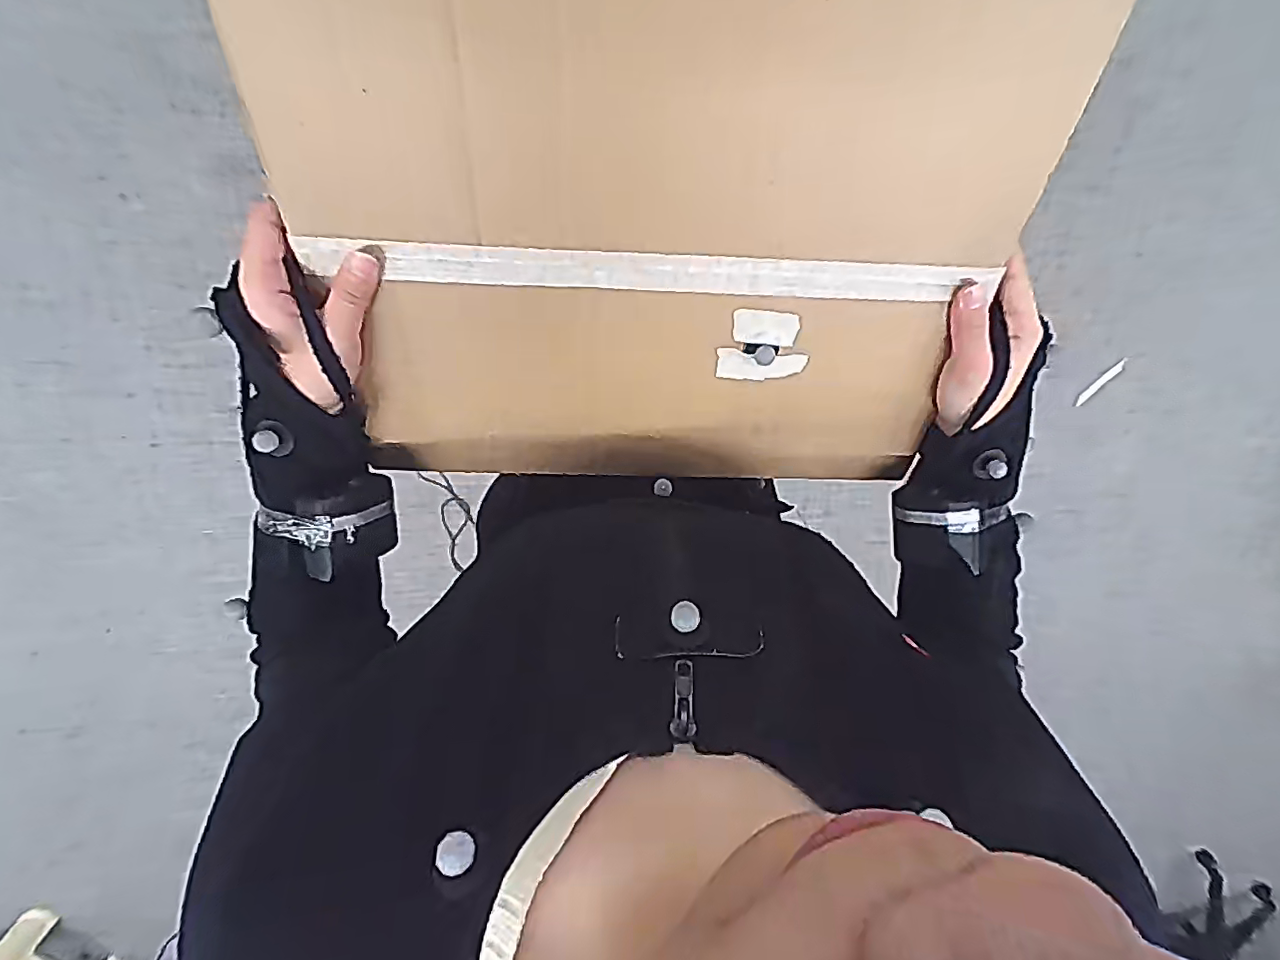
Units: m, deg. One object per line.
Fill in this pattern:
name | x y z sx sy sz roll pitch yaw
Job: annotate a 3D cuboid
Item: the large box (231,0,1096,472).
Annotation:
large box | 0.002 -0.222 0.437 0.408 0.320 0.320 0 132 -5
